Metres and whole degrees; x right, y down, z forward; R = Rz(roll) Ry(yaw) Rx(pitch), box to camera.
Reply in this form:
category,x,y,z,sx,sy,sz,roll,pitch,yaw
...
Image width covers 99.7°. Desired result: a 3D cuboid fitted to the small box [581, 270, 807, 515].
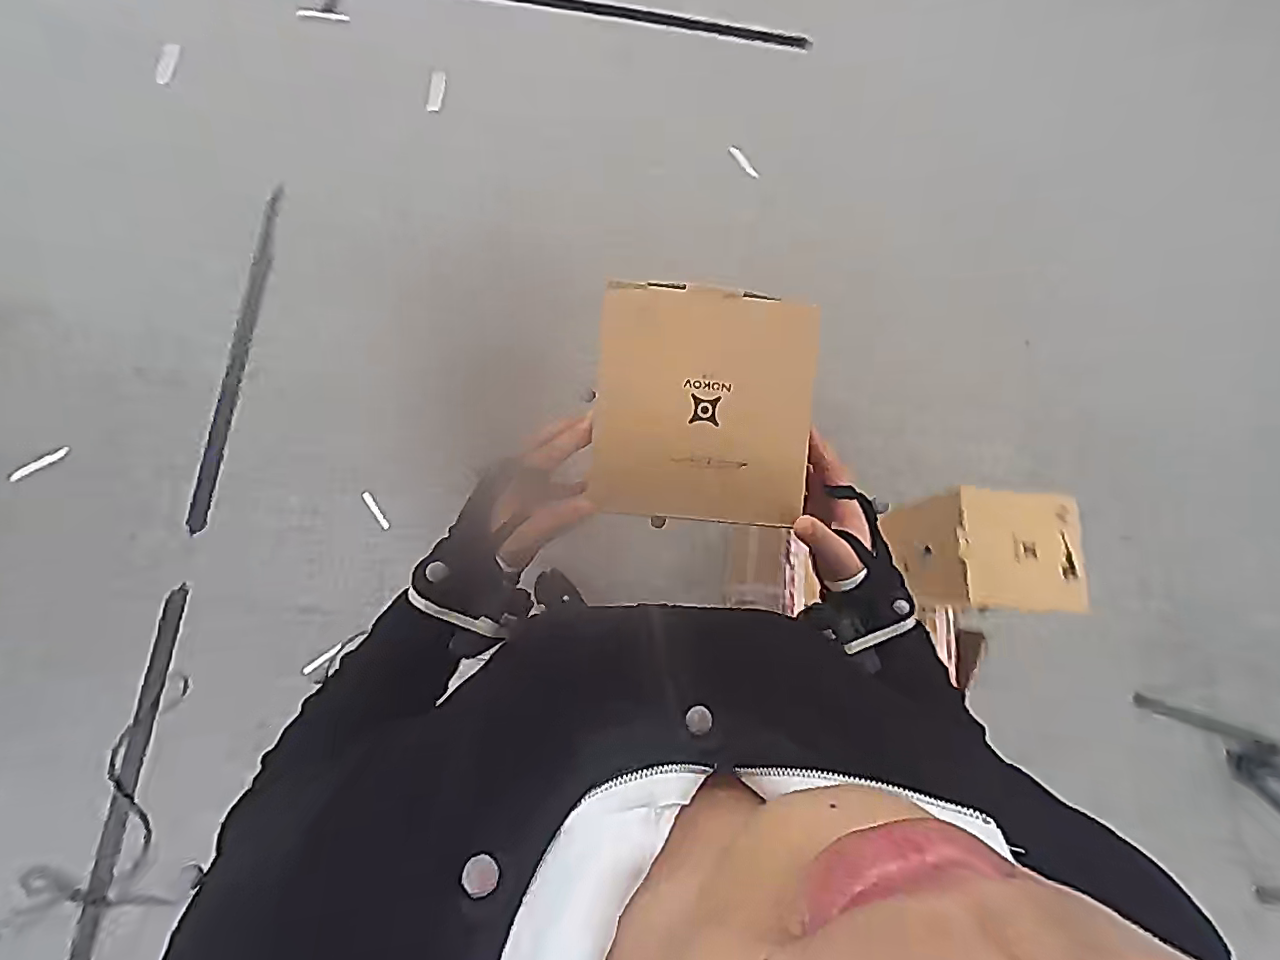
category,x,y,z,sx,sy,sz,roll,pitch,yaw
small box,0.036,-0.065,0.488,0.168,0.176,0.179,4,90,-4

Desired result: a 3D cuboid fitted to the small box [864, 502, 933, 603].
category,x,y,z,sx,sy,sz,roll,pitch,yaw
small box,0.535,0.139,0.993,0.179,0.176,0.168,4,77,-2

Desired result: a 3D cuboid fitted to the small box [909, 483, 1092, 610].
category,x,y,z,sx,sy,sz,roll,pitch,yaw
small box,0.535,0.109,0.831,0.179,0.176,0.168,5,77,-1
